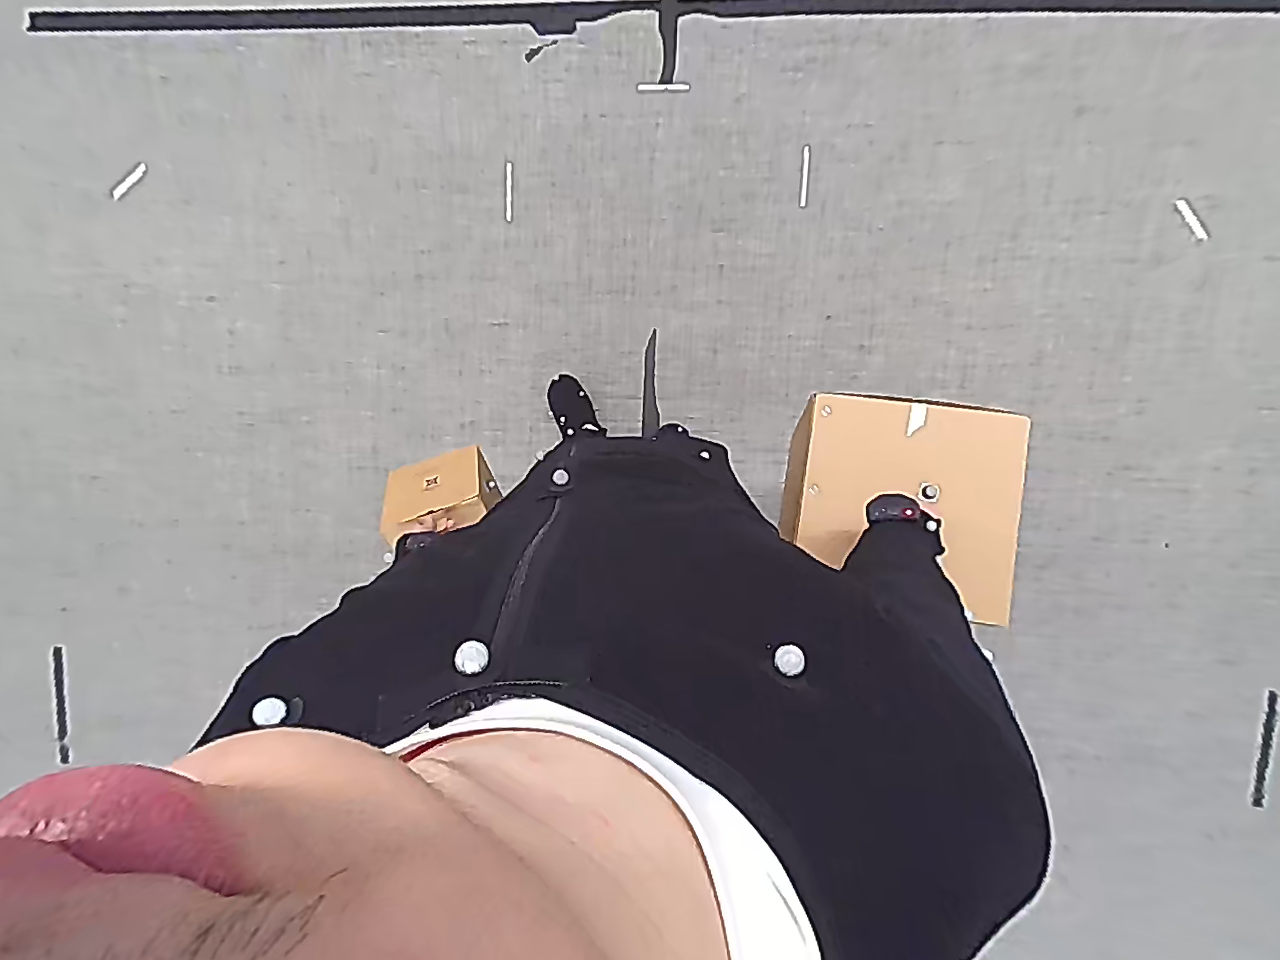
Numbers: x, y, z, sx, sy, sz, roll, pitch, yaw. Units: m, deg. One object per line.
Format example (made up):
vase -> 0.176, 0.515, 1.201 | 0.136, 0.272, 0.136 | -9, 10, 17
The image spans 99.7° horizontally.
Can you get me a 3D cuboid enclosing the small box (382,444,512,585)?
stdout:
small box -> -0.341, 0.068, 0.985 | 0.168, 0.179, 0.176 | -19, 127, -5
